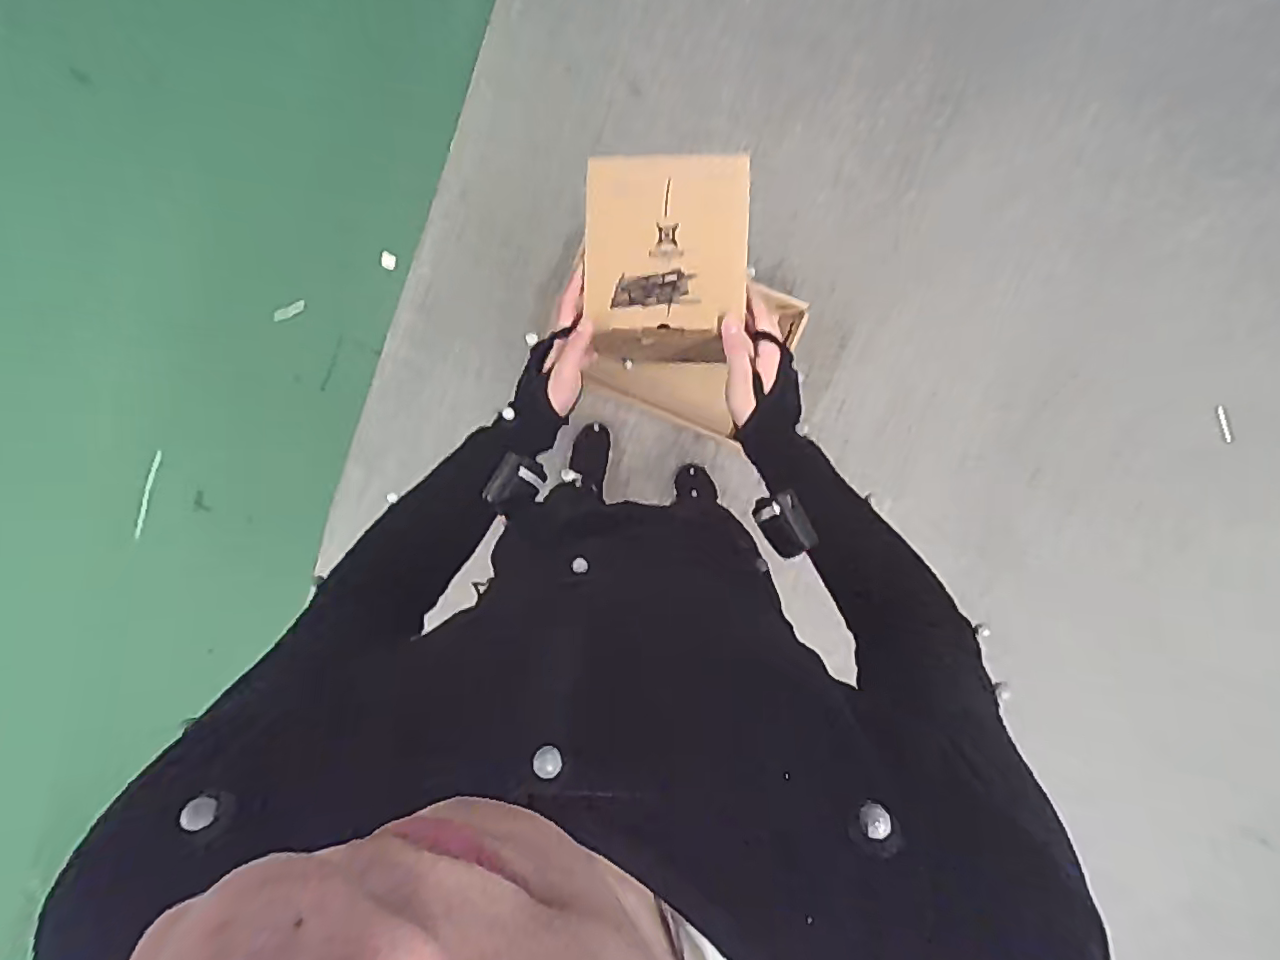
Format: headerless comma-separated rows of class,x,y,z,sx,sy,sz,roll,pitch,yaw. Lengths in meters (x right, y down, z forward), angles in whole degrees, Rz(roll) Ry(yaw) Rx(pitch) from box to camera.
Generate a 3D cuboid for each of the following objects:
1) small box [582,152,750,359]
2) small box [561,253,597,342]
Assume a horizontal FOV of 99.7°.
small box,0.031,-0.238,0.616,0.168,0.176,0.179,1,91,4
small box,-0.070,-0.421,1.297,0.168,0.176,0.179,21,97,5
